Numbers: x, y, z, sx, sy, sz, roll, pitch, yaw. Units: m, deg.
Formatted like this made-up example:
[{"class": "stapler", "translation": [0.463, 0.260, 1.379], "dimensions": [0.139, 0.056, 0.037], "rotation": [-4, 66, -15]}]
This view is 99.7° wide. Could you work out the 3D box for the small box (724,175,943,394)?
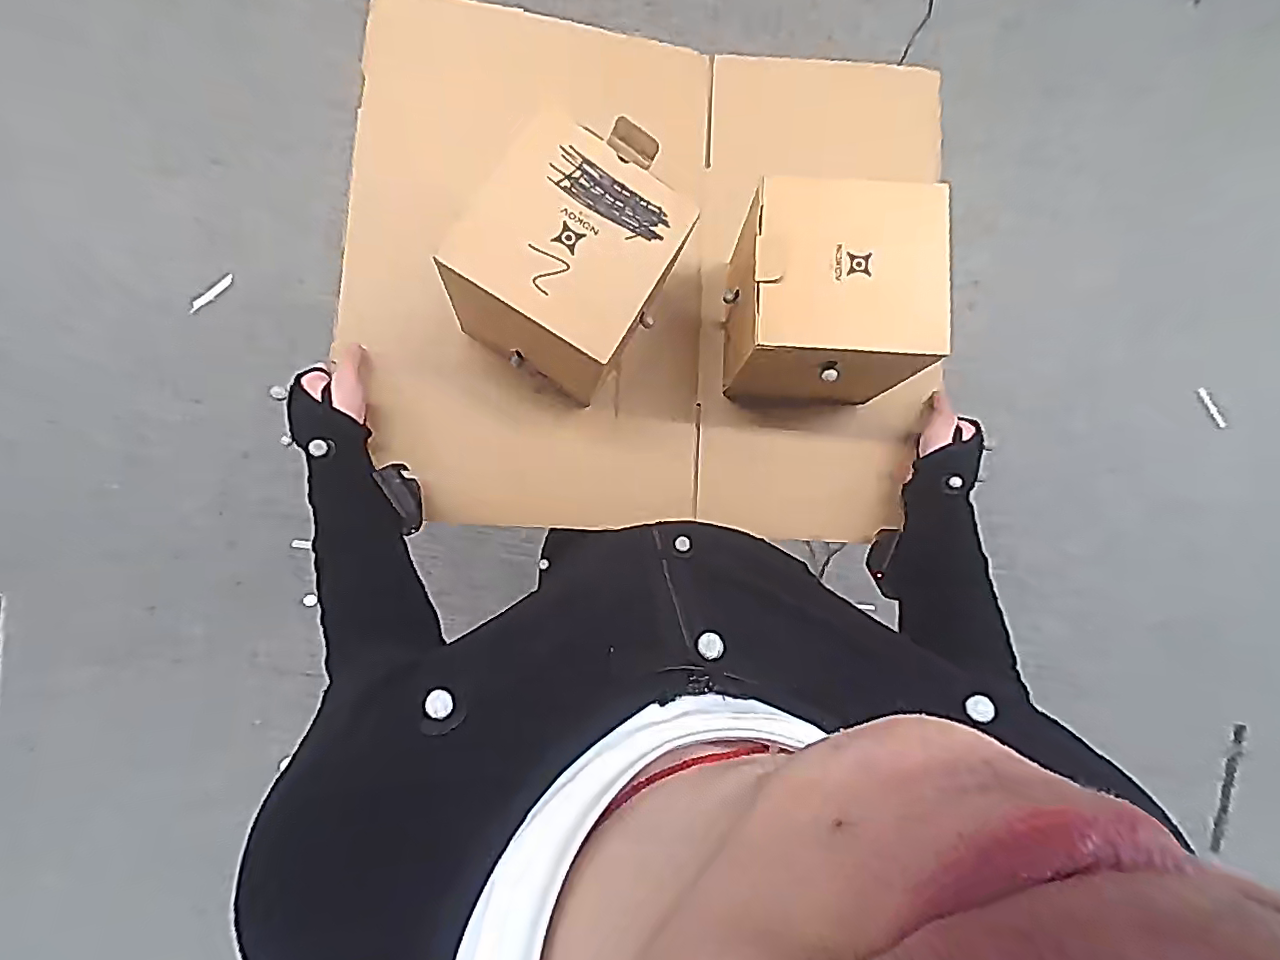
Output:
[{"class": "small box", "translation": [0.195, -0.195, 0.583], "dimensions": [0.179, 0.176, 0.168], "rotation": [3, 84, 0]}]
